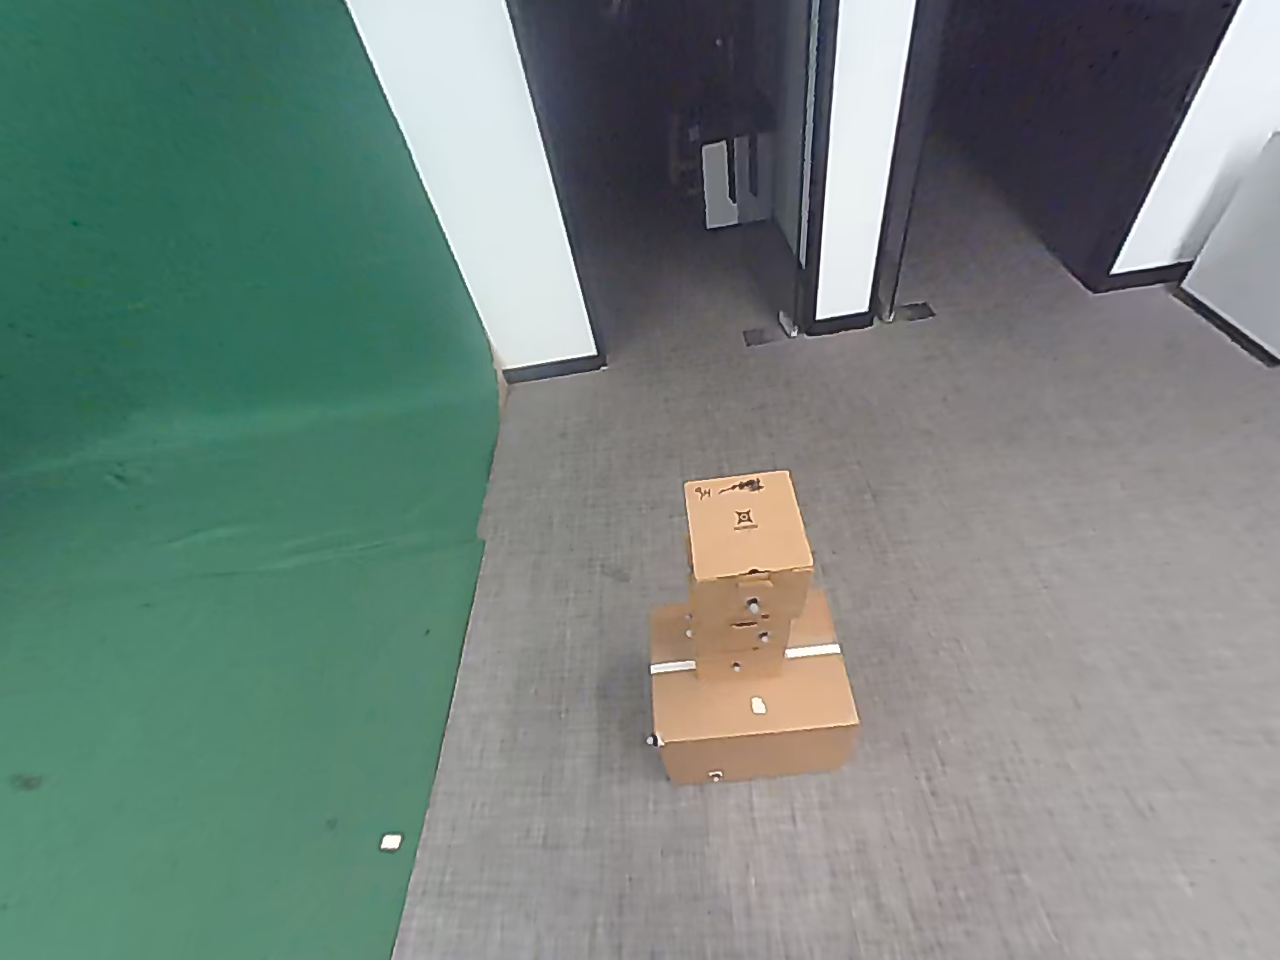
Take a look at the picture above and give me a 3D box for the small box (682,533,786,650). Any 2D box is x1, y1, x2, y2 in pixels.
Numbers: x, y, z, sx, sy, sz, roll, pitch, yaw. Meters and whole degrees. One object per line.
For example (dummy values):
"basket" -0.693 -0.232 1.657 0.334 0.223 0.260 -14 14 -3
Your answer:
"small box" 0.173 0.205 1.003 0.168 0.176 0.179 -7 52 5

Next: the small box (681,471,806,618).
"small box" 0.162 0.112 0.869 0.168 0.176 0.179 -7 53 5

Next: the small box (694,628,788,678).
"small box" 0.199 0.301 1.131 0.179 0.176 0.168 -9 53 5
